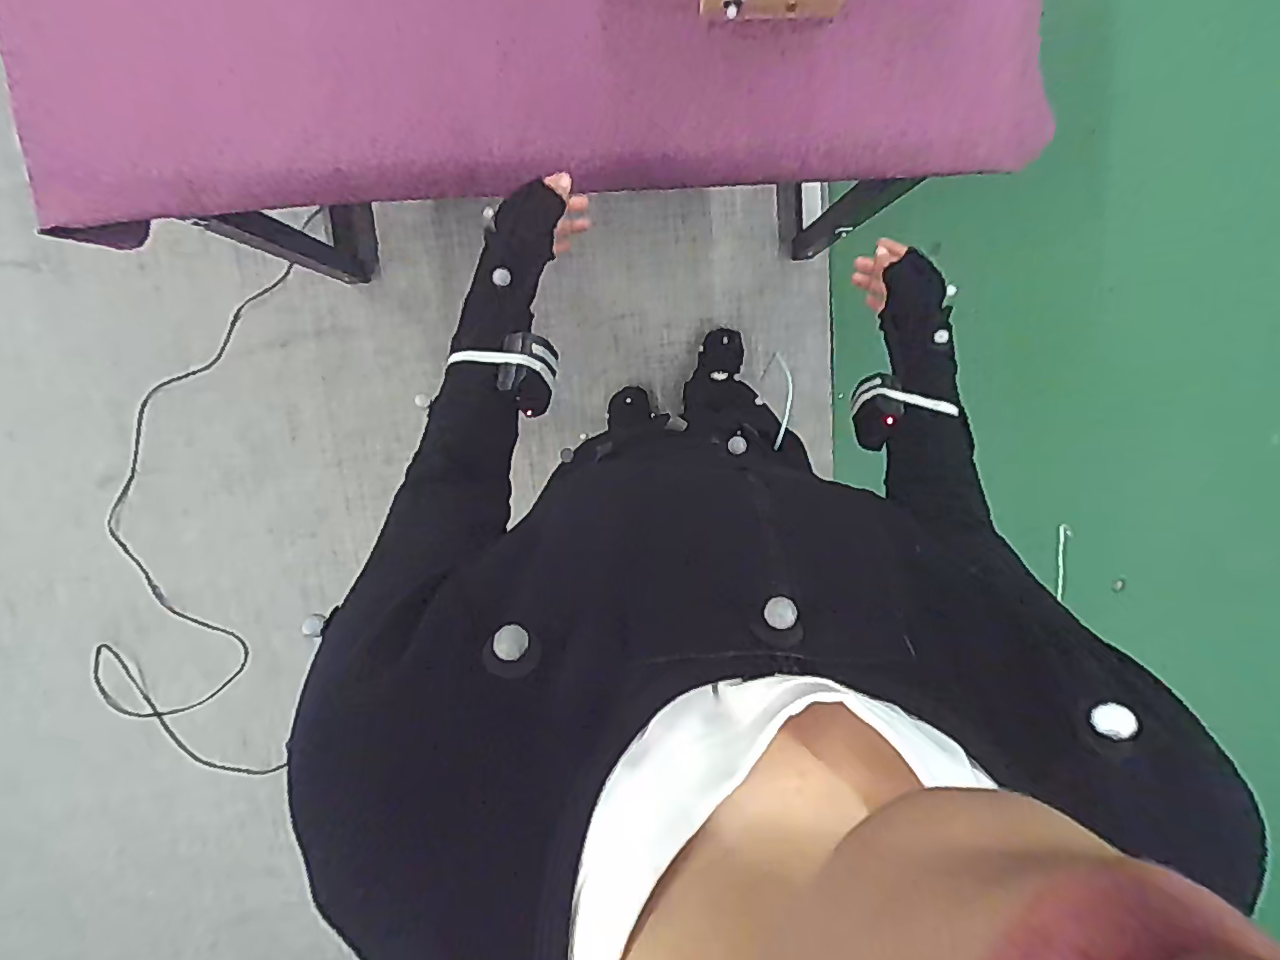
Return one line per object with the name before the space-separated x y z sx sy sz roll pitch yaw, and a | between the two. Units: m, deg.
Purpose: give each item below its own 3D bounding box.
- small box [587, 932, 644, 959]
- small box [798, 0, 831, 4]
small box | -0.068 1.486 1.590 0.168 0.176 0.179 -5 101 -1
small box | 0.159 -0.632 0.545 0.168 0.176 0.179 0 100 -4
